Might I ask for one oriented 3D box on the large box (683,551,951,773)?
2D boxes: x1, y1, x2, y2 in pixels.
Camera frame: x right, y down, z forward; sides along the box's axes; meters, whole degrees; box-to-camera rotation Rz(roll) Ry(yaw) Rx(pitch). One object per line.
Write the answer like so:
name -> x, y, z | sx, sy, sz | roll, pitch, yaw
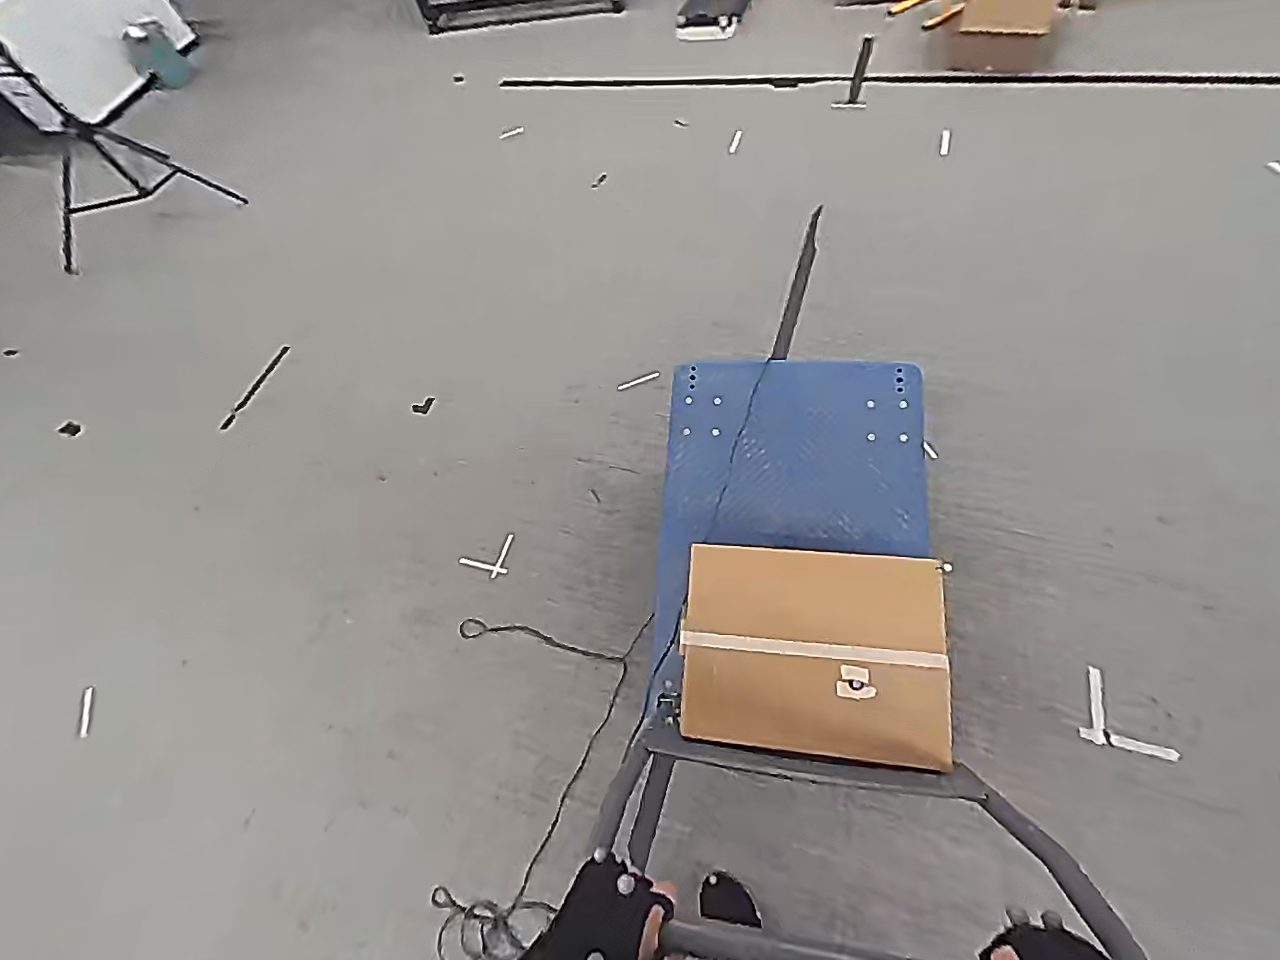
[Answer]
large box -> 0.294, 0.316, 1.003 | 0.408, 0.320, 0.320 | 3, 76, 10
